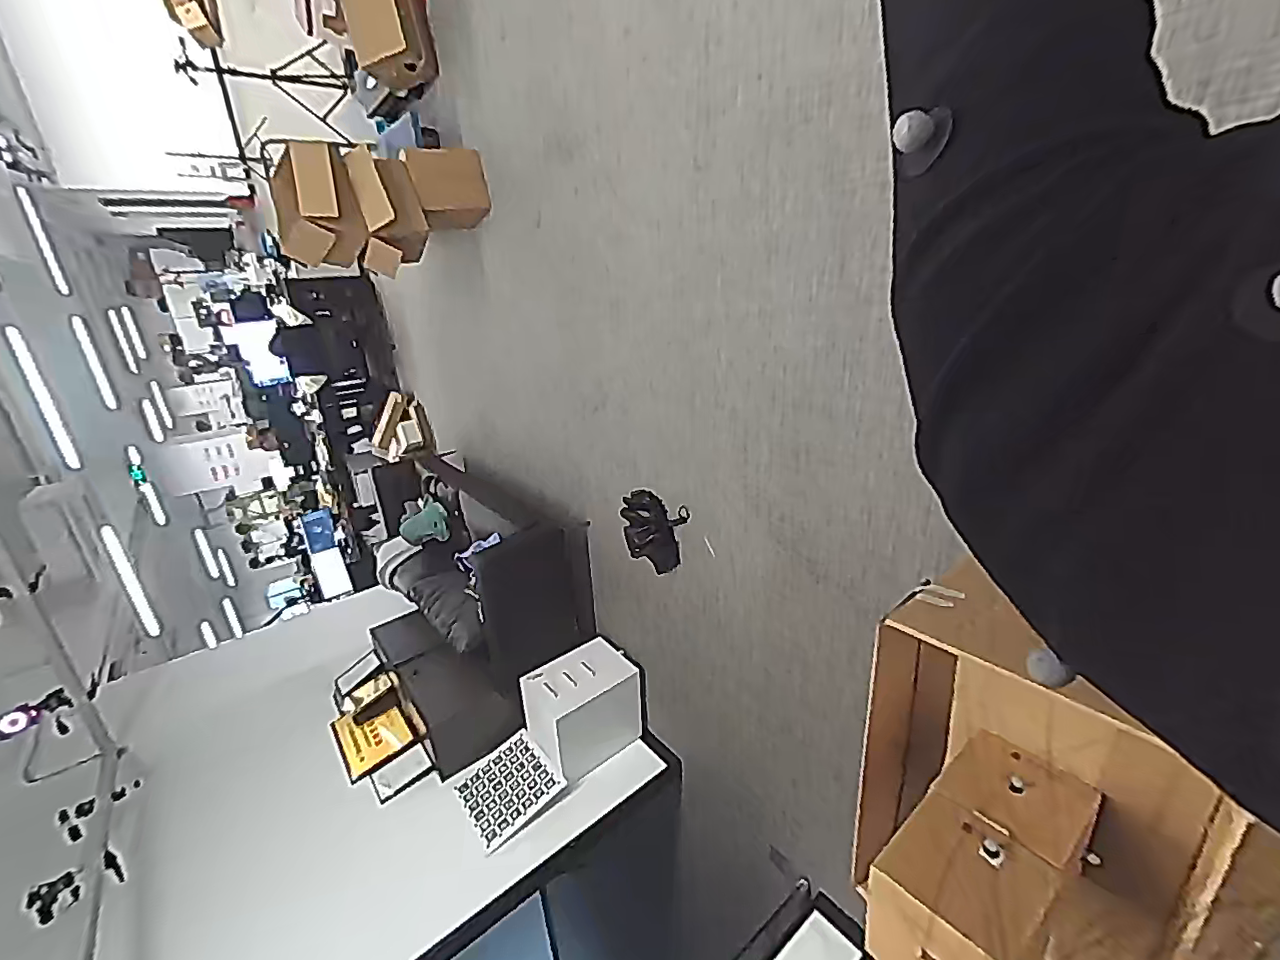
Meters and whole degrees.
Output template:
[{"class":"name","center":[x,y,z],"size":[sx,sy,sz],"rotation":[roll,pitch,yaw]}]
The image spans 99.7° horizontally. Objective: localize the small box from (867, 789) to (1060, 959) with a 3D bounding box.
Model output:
[{"class":"small box","center":[0.424,0.565,0.714],"size":[0.168,0.176,0.179],"rotation":[17,119,49]}]
